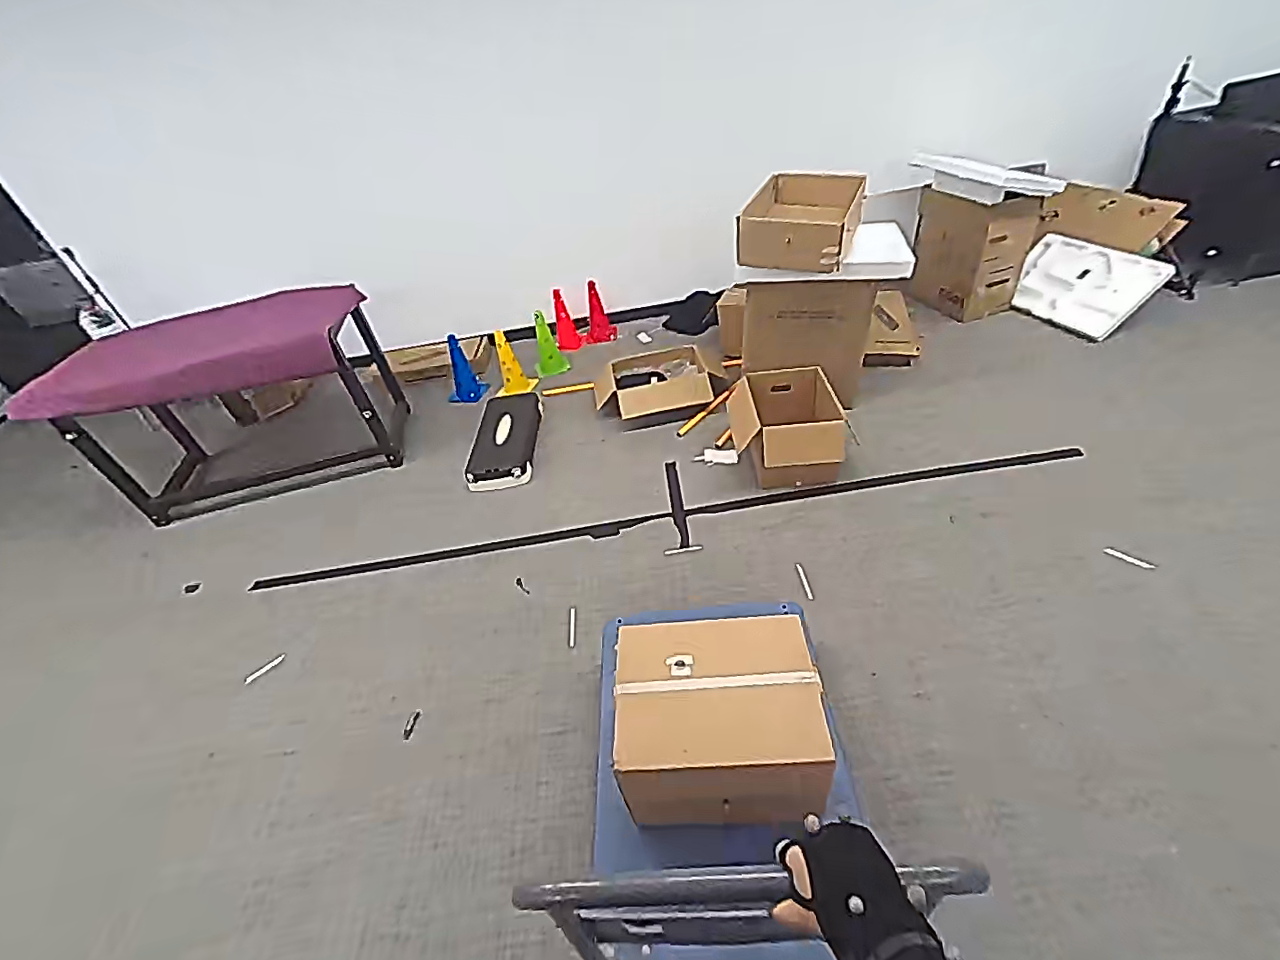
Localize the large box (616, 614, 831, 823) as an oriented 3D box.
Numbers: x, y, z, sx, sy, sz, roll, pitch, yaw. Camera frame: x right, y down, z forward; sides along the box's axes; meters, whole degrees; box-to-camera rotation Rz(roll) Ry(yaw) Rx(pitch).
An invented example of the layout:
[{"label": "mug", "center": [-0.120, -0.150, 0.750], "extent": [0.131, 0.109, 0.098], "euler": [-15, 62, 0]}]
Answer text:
[{"label": "large box", "center": [0.174, 0.534, 1.203], "extent": [0.408, 0.320, 0.320], "euler": [-7, 39, 6]}]
